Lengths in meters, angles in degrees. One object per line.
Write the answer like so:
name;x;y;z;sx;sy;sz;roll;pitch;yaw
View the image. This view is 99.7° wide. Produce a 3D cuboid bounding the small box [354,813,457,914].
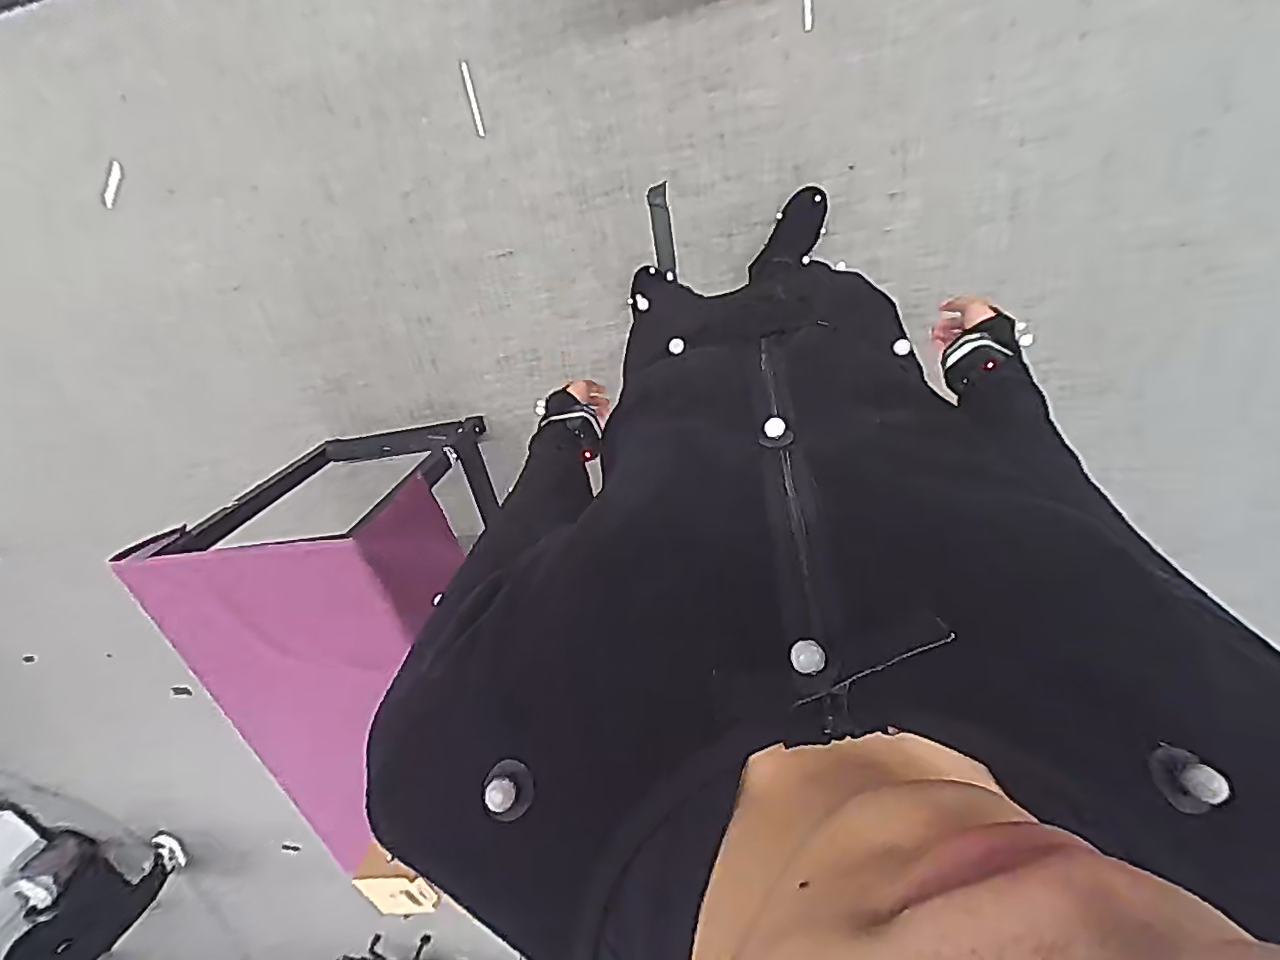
small box;-0.621;1.035;1.467;0.179;0.176;0.168;-15;114;15
